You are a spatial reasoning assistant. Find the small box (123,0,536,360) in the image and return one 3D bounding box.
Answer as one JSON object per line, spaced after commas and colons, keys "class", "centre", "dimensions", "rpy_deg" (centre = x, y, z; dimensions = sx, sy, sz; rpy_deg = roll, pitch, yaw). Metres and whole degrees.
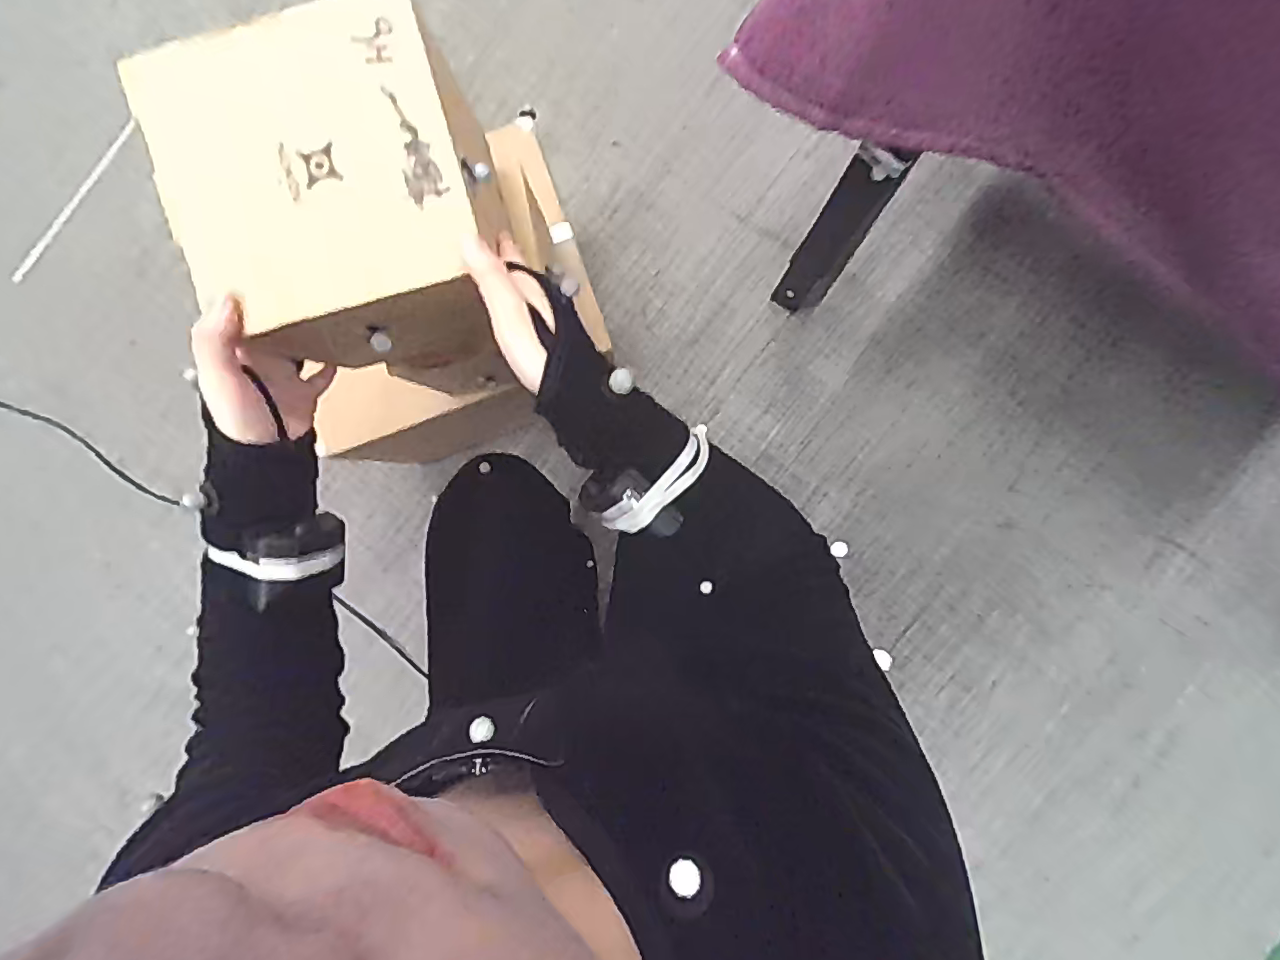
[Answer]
{"class": "small box", "centre": [-0.193, -0.192, 0.394], "dimensions": [0.179, 0.176, 0.168], "rpy_deg": [-15, 97, 2]}
